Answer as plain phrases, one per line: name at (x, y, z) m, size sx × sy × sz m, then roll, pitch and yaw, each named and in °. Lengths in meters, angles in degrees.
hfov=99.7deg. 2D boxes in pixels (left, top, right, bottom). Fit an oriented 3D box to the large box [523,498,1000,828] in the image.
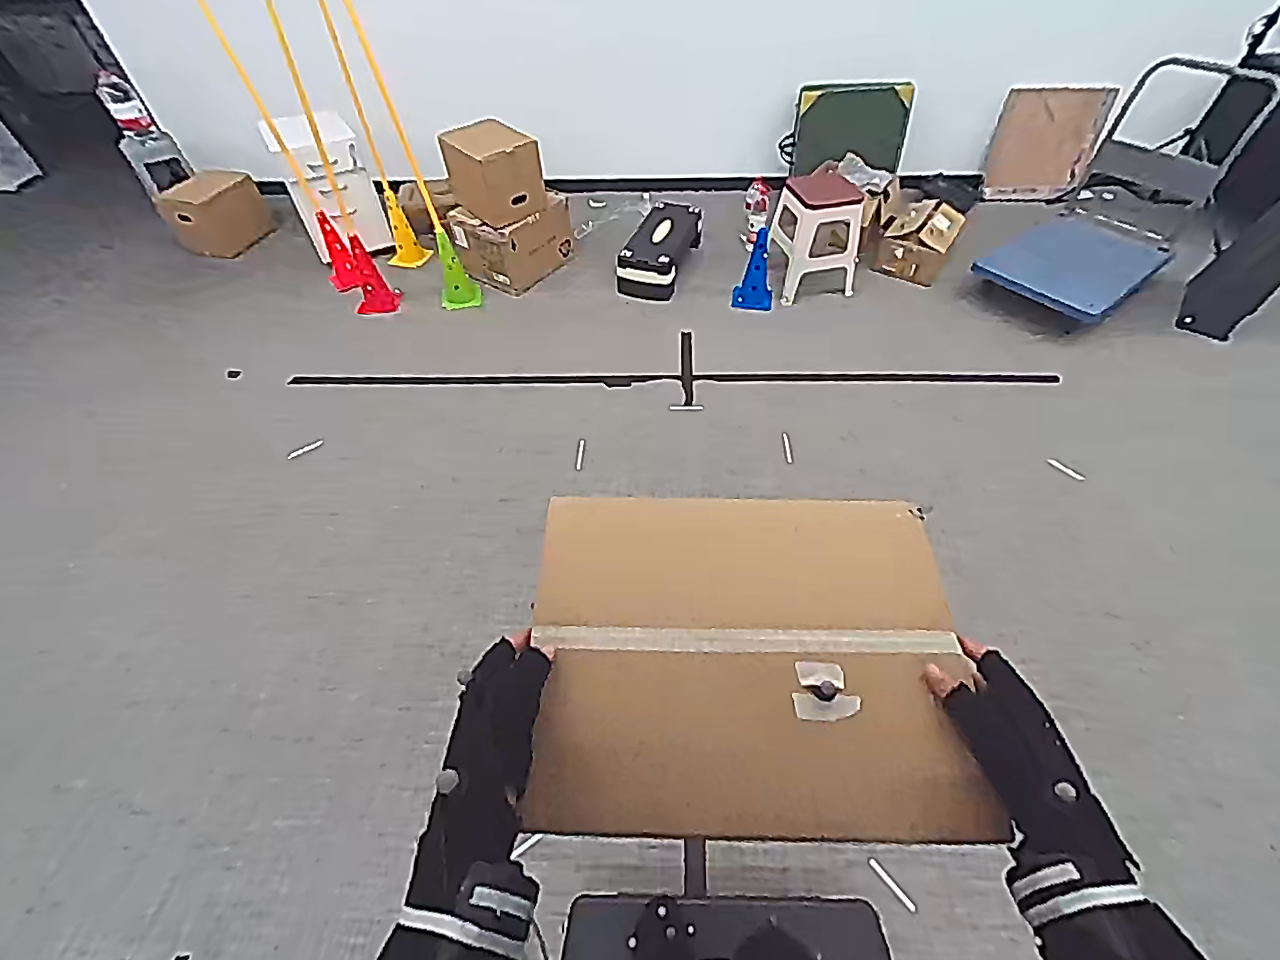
large box at (0.098, 0.231, 0.648) m, size 0.408 × 0.320 × 0.320 m, roll 1°, pitch 58°, yaw 0°
